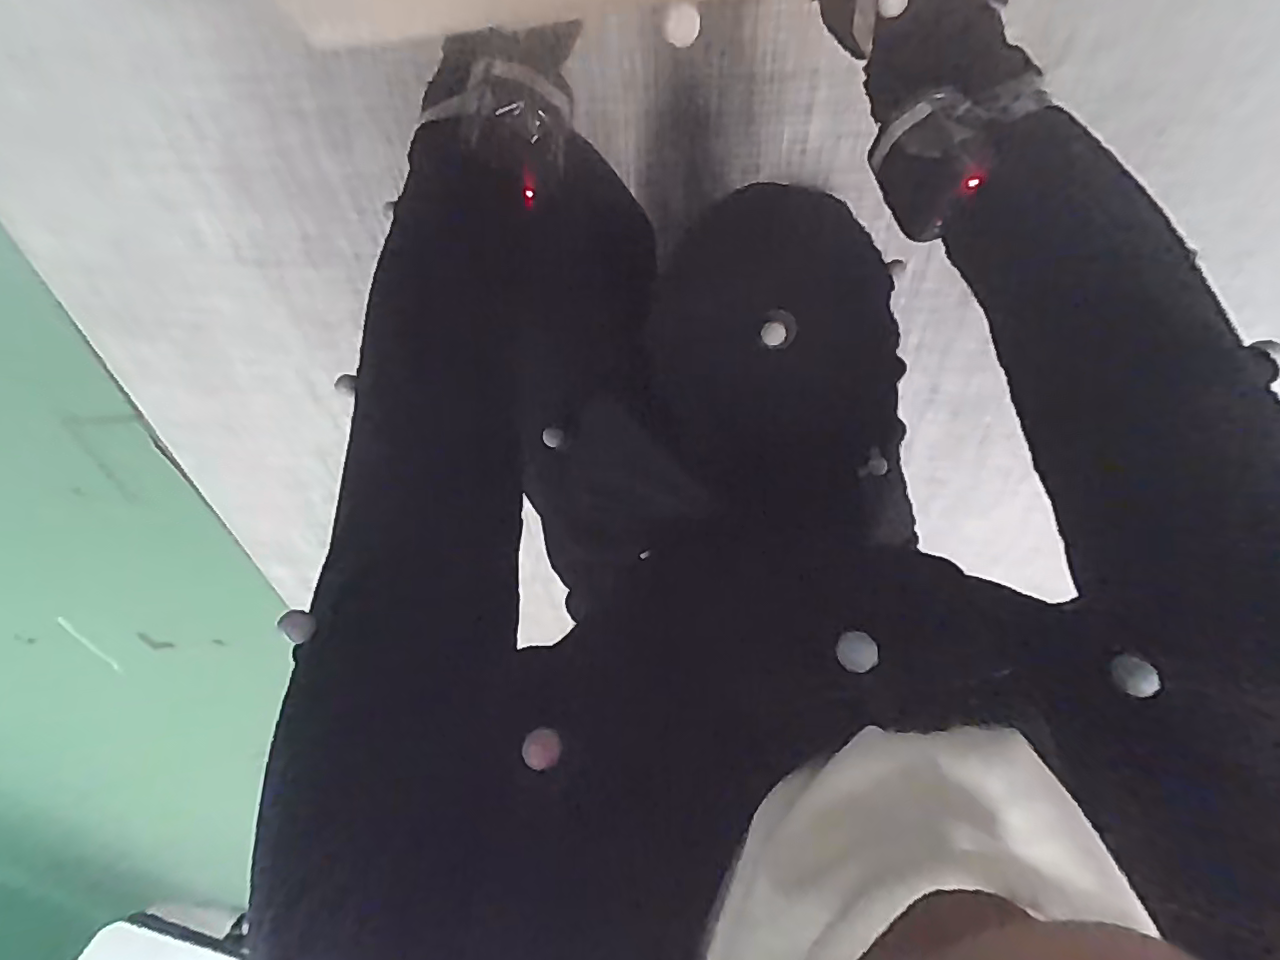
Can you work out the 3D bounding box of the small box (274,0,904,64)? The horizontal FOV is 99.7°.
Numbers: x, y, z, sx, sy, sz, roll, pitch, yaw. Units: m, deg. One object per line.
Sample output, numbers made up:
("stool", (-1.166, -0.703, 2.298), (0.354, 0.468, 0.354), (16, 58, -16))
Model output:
("small box", (-0.001, -0.221, 0.129), (0.179, 0.176, 0.168), (1, 133, 10))
